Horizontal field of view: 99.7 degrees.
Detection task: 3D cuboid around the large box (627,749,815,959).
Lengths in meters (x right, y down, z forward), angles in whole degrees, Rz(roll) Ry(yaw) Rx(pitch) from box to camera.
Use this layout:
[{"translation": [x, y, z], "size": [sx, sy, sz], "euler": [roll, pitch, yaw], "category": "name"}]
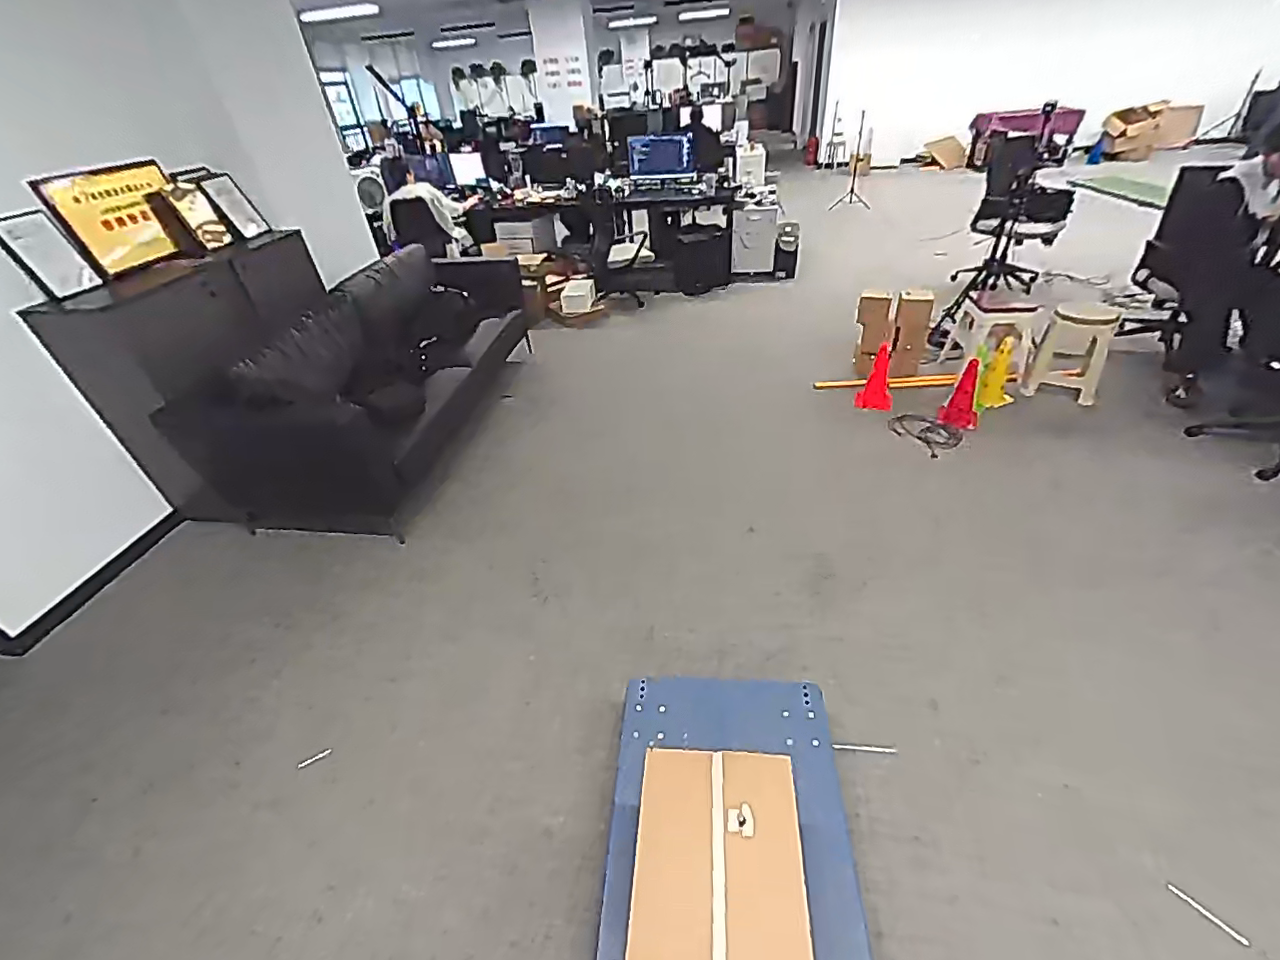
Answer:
[{"translation": [0.159, 0.830, 1.105], "size": [0.320, 0.320, 0.408], "euler": [0, 36, 7], "category": "large box"}]
